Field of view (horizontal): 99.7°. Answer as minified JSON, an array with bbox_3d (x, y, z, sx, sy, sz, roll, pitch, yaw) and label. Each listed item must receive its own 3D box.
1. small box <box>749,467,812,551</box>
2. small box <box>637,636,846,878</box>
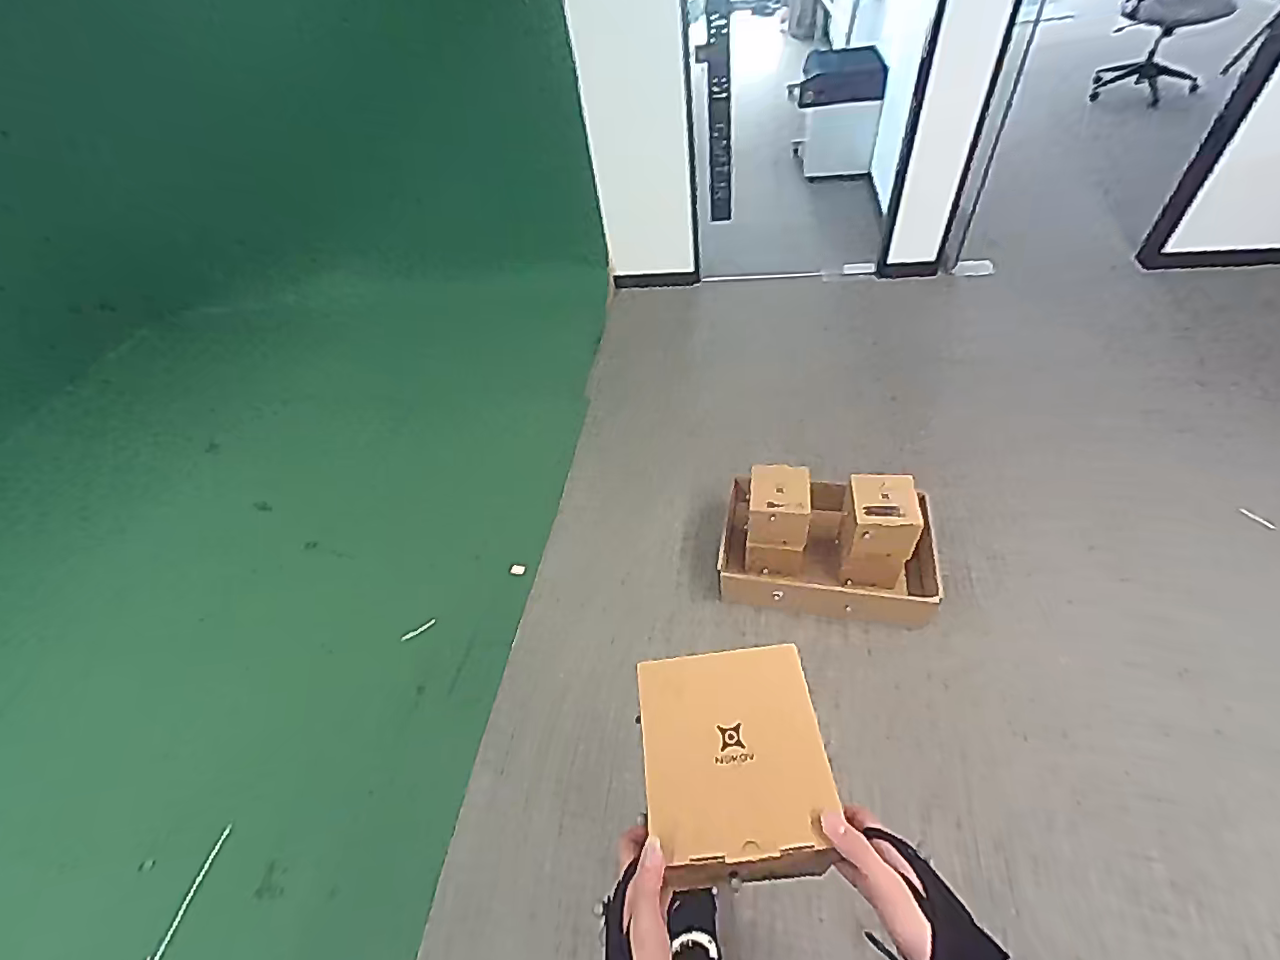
[{"bbox_3d":[0.410,0.085,1.589,0.168,0.176,0.179,3,48,13],"label":"small box"},{"bbox_3d":[0.089,0.284,0.553,0.168,0.176,0.179,-7,48,2],"label":"small box"}]
